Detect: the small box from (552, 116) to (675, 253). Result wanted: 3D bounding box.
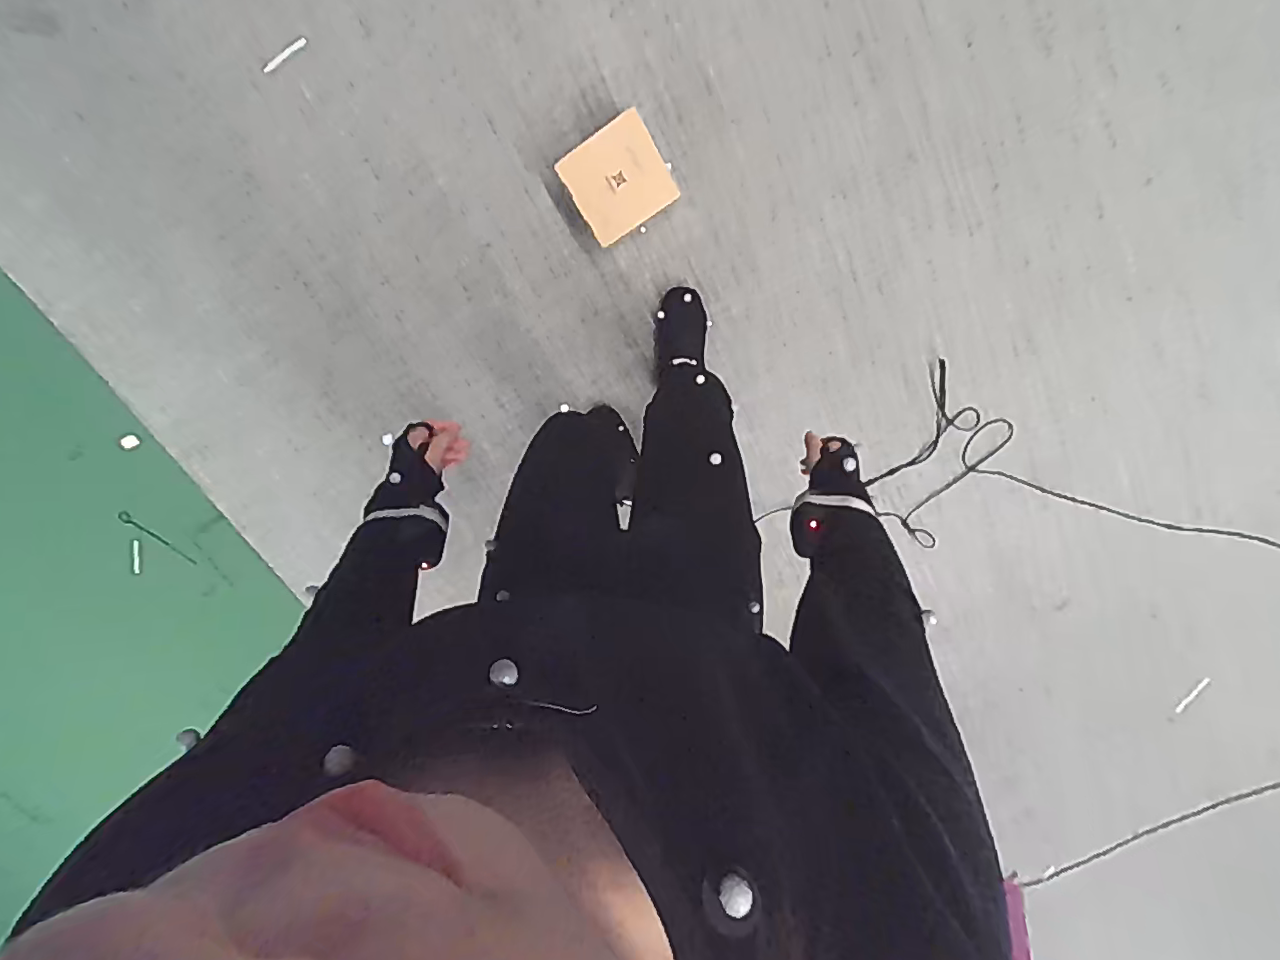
[{"bbox_3d":[-0.043,-0.565,1.059,0.179,0.176,0.168,-28,110,14],"label":"small box"}]
